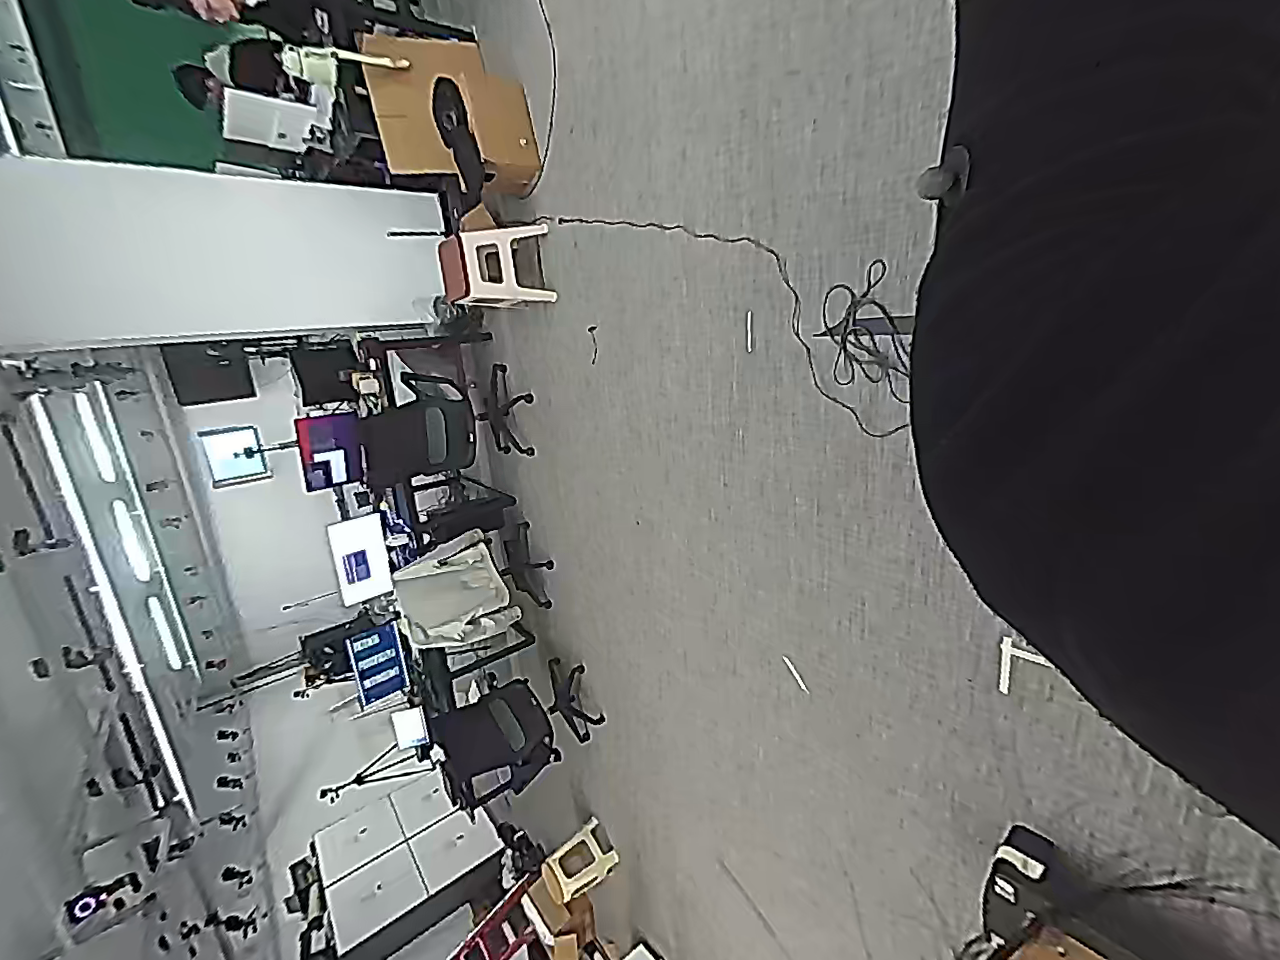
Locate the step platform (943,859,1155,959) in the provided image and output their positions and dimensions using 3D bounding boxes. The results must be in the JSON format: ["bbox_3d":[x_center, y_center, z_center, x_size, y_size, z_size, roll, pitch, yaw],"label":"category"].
[{"bbox_3d":[1.059,1.192,1.179,0.684,0.204,0.286,14,115,52],"label":"step platform"}]
